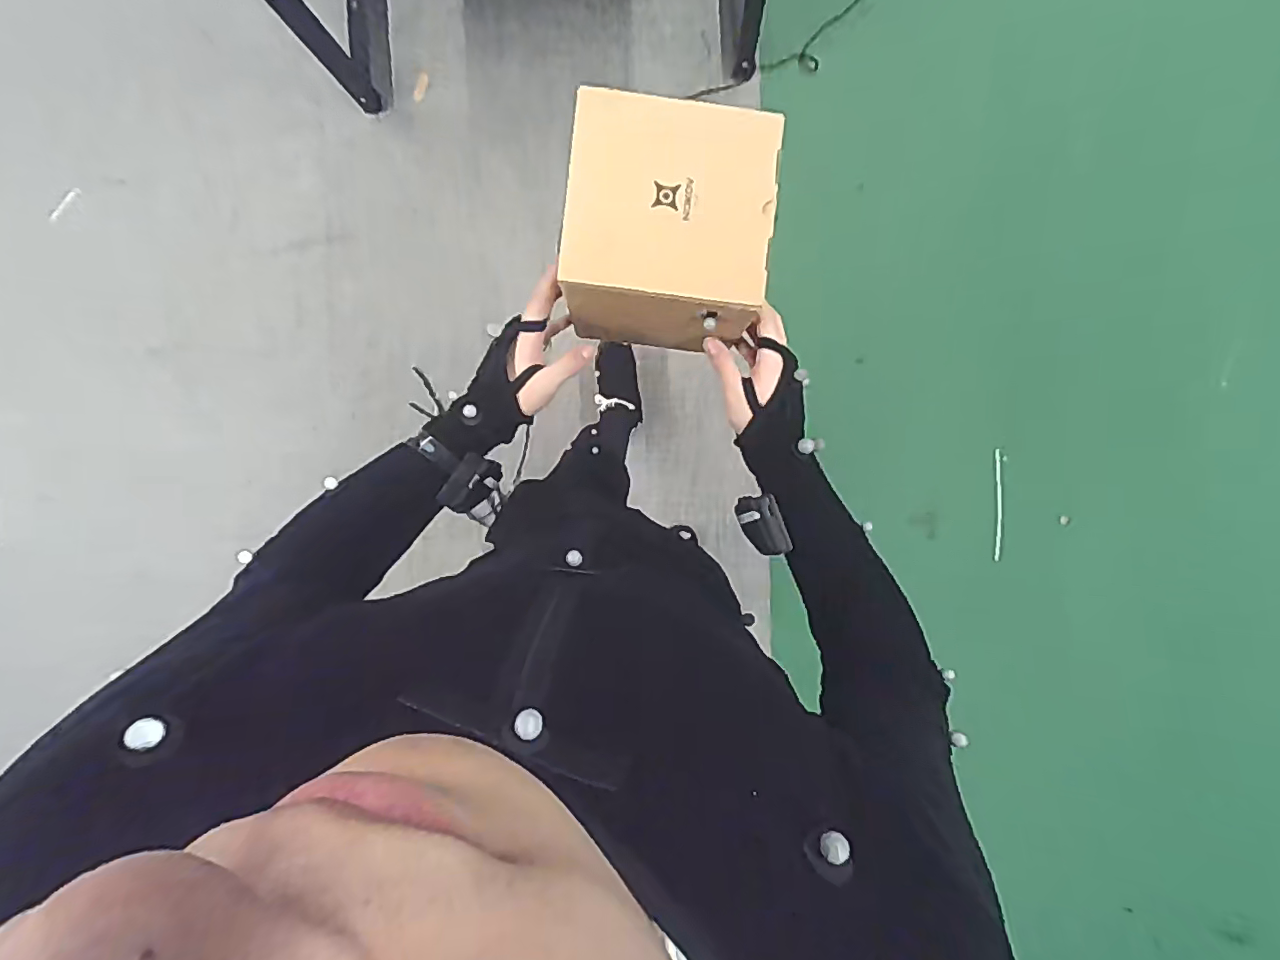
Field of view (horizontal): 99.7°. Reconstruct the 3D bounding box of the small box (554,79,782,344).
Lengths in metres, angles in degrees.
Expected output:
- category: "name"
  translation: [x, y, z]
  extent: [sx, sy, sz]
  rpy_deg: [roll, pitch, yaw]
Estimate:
- category: "small box"
  translation: [0.021, -0.239, 0.525]
  extent: [0.179, 0.176, 0.168]
  rpy_deg: [6, 90, -3]
